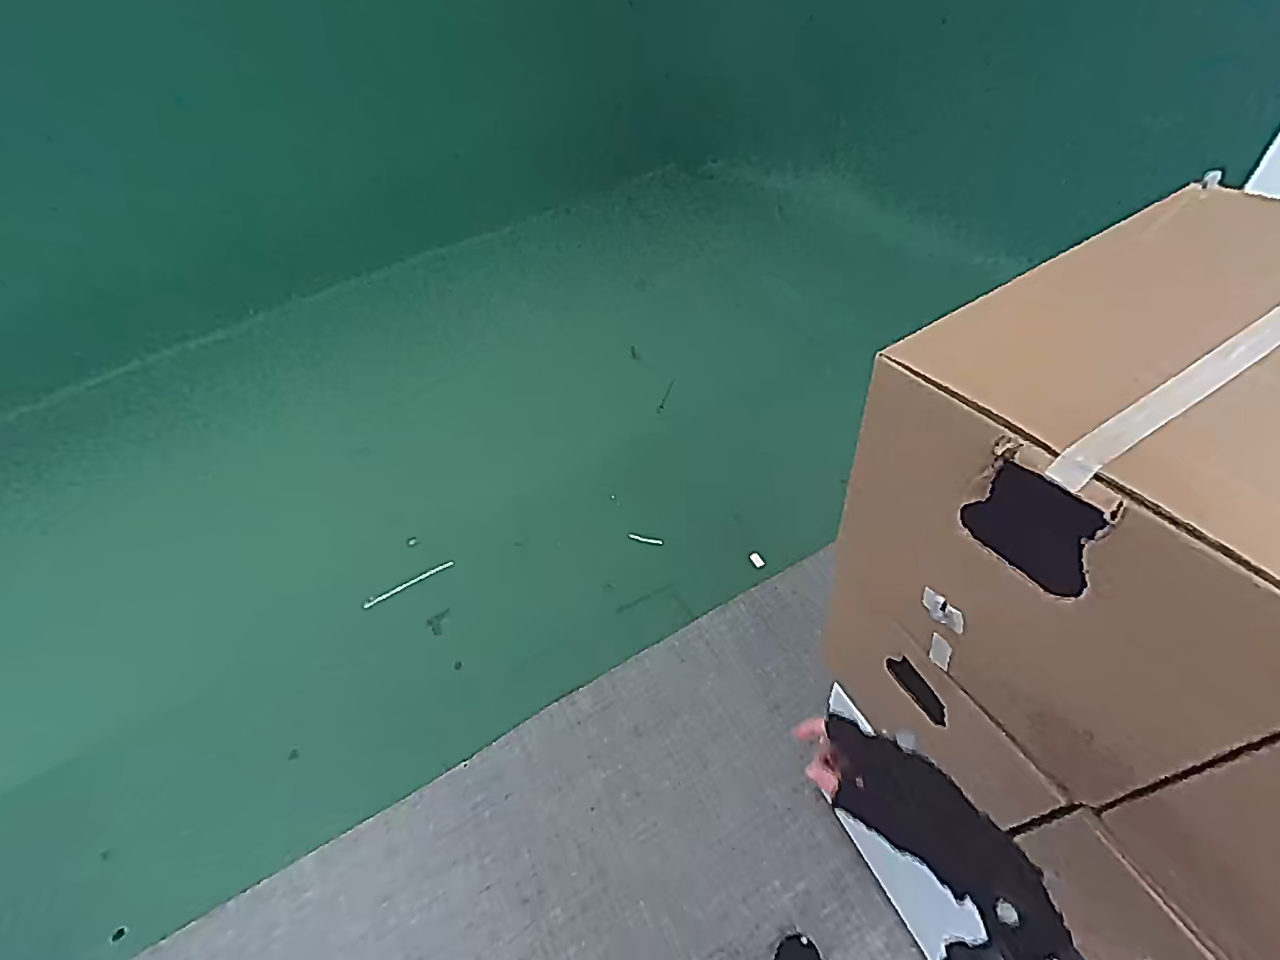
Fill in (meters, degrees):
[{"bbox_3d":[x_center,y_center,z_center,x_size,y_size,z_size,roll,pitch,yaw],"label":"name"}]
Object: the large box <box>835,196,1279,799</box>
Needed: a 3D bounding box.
[{"bbox_3d":[0.449,-0.001,0.495,0.408,0.320,0.320,-28,50,-14],"label":"large box"}]
